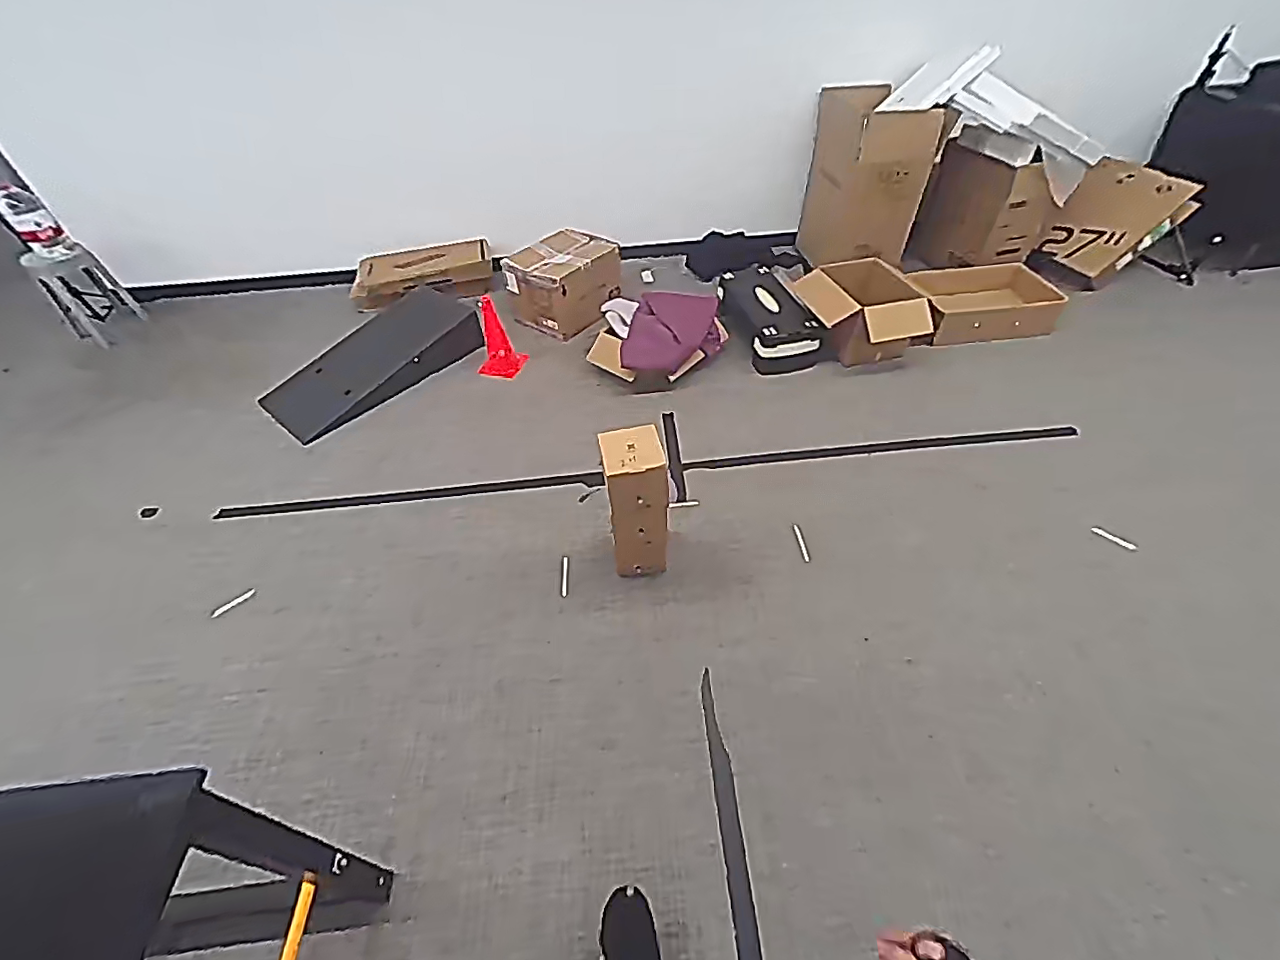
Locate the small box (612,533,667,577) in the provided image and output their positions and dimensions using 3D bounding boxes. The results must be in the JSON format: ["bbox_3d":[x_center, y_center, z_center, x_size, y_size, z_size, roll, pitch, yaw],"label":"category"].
[{"bbox_3d":[-0.004,0.193,1.769,0.168,0.176,0.179,-8,47,-2],"label":"small box"}]

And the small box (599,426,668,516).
[{"bbox_3d":[-0.018,-0.024,1.521,0.168,0.176,0.179,-11,46,-4],"label":"small box"}]

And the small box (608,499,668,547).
[{"bbox_3d":[-0.008,0.091,1.640,0.168,0.176,0.179,-7,46,-1],"label":"small box"}]
